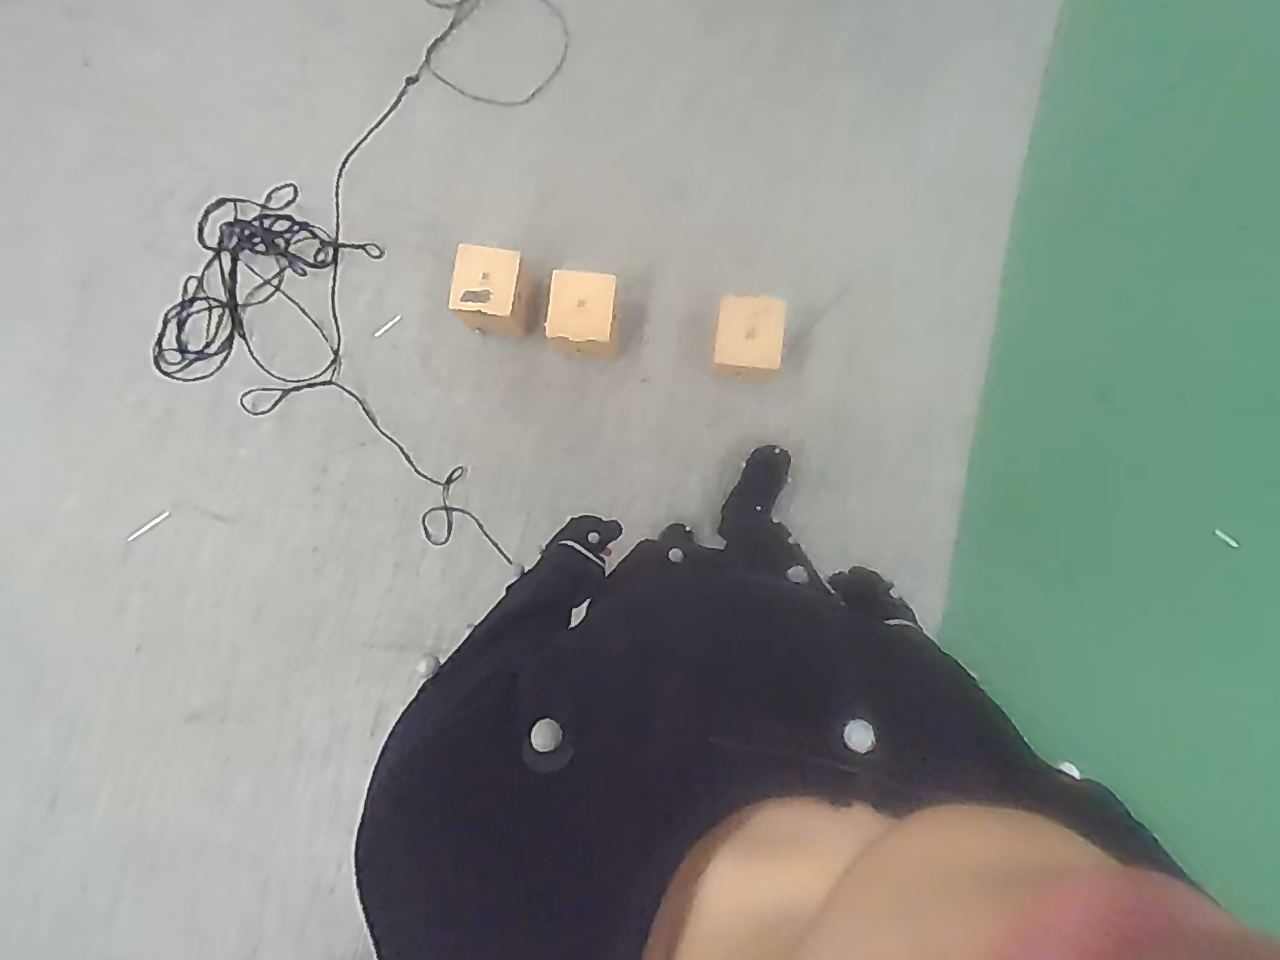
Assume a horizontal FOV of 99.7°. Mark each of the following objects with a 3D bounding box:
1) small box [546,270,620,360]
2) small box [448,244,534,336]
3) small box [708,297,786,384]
[{"bbox_3d":[-0.145,-0.432,1.437,0.168,0.176,0.179,6,88,3],"label":"small box"},{"bbox_3d":[-0.392,-0.500,1.448,0.168,0.176,0.179,9,86,2],"label":"small box"},{"bbox_3d":[0.274,-0.358,1.420,0.168,0.176,0.179,7,87,1],"label":"small box"}]
